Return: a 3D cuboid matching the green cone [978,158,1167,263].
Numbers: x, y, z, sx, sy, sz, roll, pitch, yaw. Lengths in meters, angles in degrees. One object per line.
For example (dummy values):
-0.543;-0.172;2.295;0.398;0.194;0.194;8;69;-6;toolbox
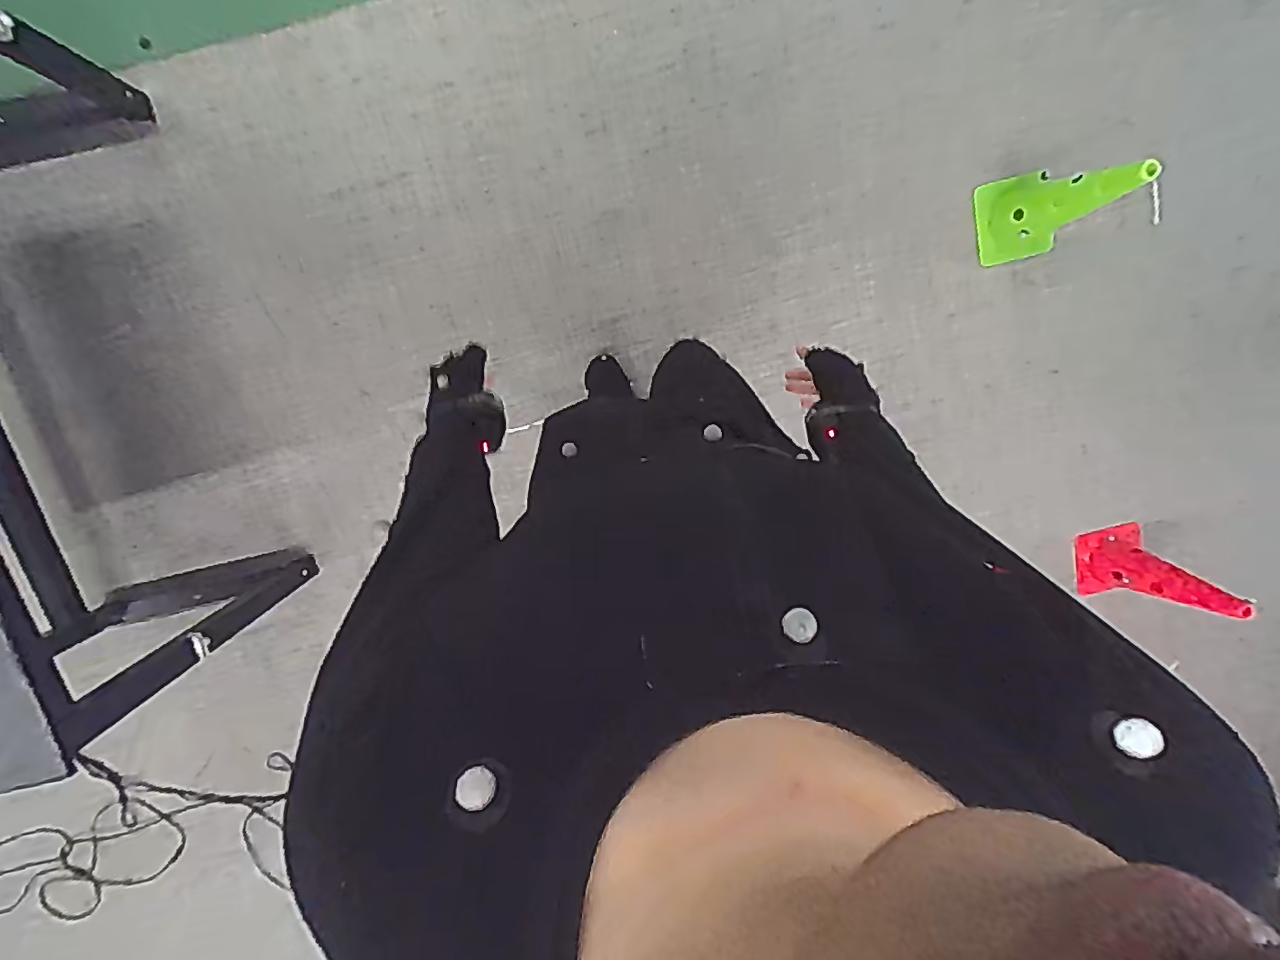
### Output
0.972;-0.638;1.206;0.200;0.368;0.202;-16;103;0;green cone
